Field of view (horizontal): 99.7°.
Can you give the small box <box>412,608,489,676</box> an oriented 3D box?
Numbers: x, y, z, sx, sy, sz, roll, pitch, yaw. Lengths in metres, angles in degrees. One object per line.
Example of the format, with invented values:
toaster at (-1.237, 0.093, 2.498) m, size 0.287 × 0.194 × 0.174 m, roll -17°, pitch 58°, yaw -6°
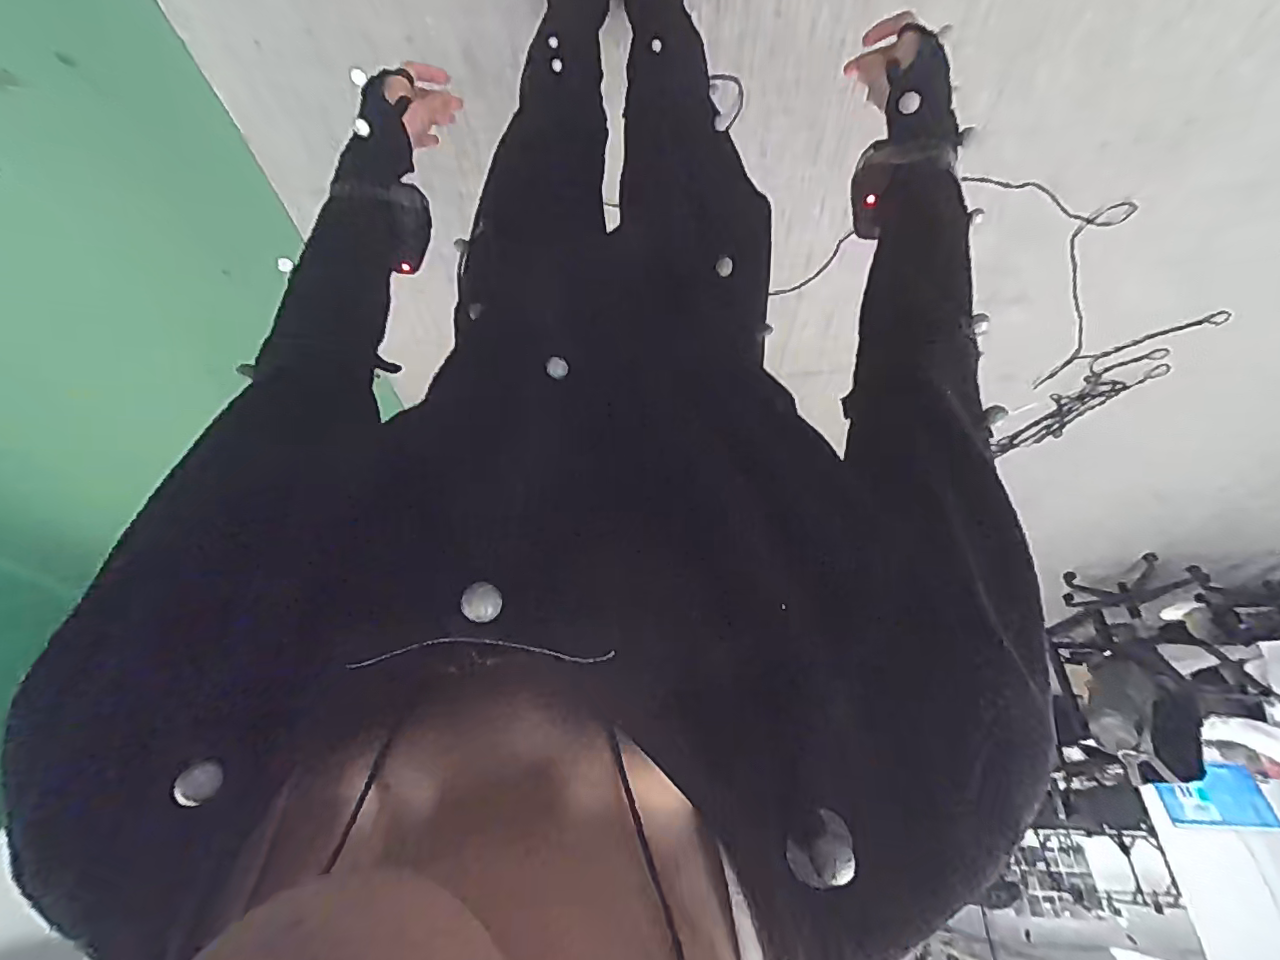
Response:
small box at (-0.582, 0.507, 1.692) m, size 0.179 × 0.176 × 0.168 m, roll 1°, pitch 147°, yaw 3°
